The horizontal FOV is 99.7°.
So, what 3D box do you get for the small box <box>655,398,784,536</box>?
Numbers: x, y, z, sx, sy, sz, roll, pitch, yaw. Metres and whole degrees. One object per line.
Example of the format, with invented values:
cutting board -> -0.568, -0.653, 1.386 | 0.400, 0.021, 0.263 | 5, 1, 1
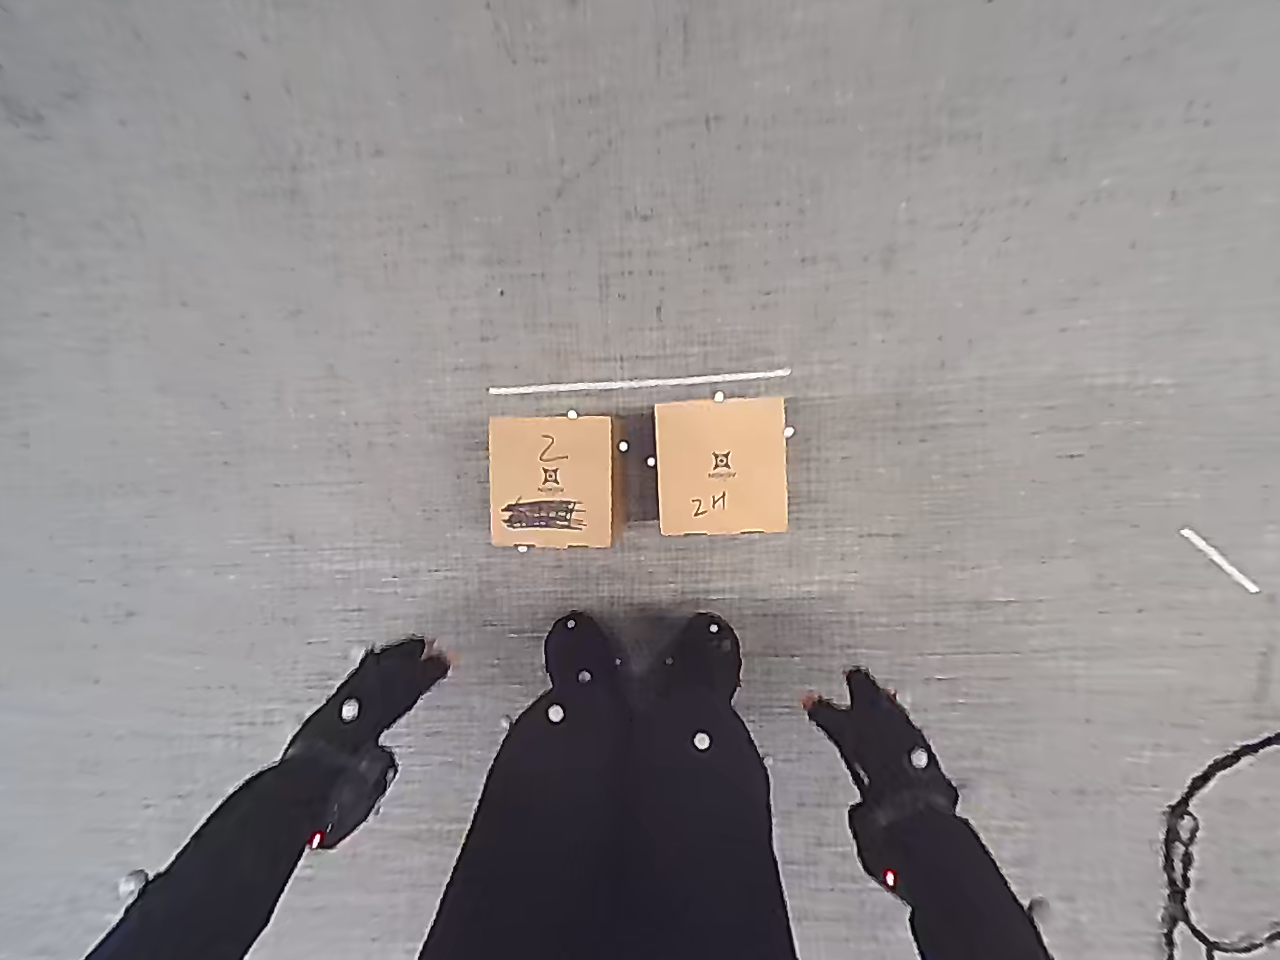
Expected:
small box -> 0.108, -0.019, 0.777 | 0.168, 0.176, 0.179 | -2, 93, 6
